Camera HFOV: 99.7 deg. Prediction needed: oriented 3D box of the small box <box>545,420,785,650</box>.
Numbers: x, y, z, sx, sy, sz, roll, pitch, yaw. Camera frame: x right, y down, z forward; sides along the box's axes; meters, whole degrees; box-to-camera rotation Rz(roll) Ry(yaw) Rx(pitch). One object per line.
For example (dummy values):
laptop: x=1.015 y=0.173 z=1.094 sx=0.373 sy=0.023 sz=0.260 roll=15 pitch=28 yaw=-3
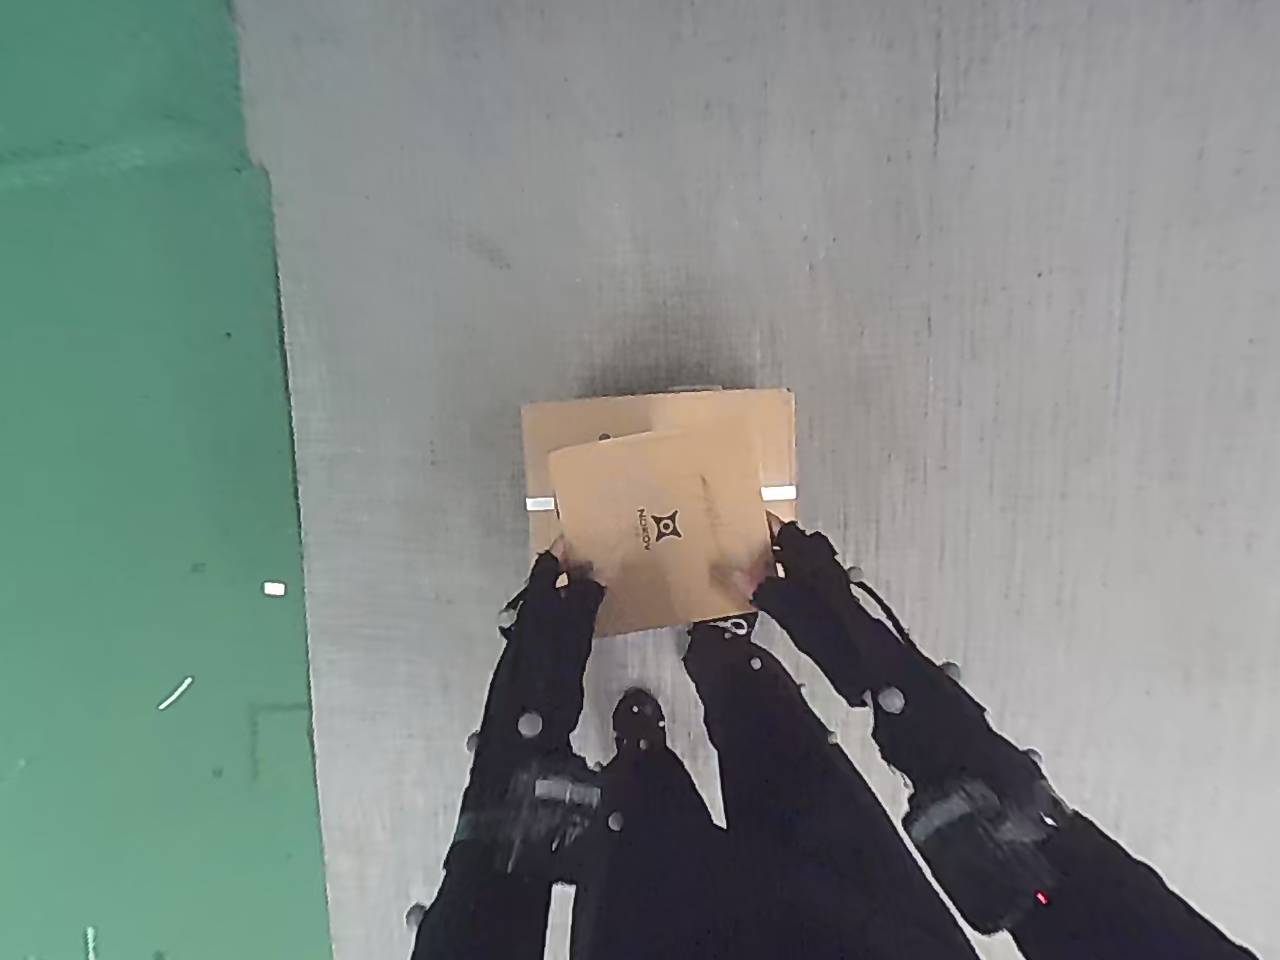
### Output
small box: x=0.026 y=0.049 z=0.525 sx=0.179 sy=0.176 sz=0.168 roll=-12 pitch=88 yaw=4
